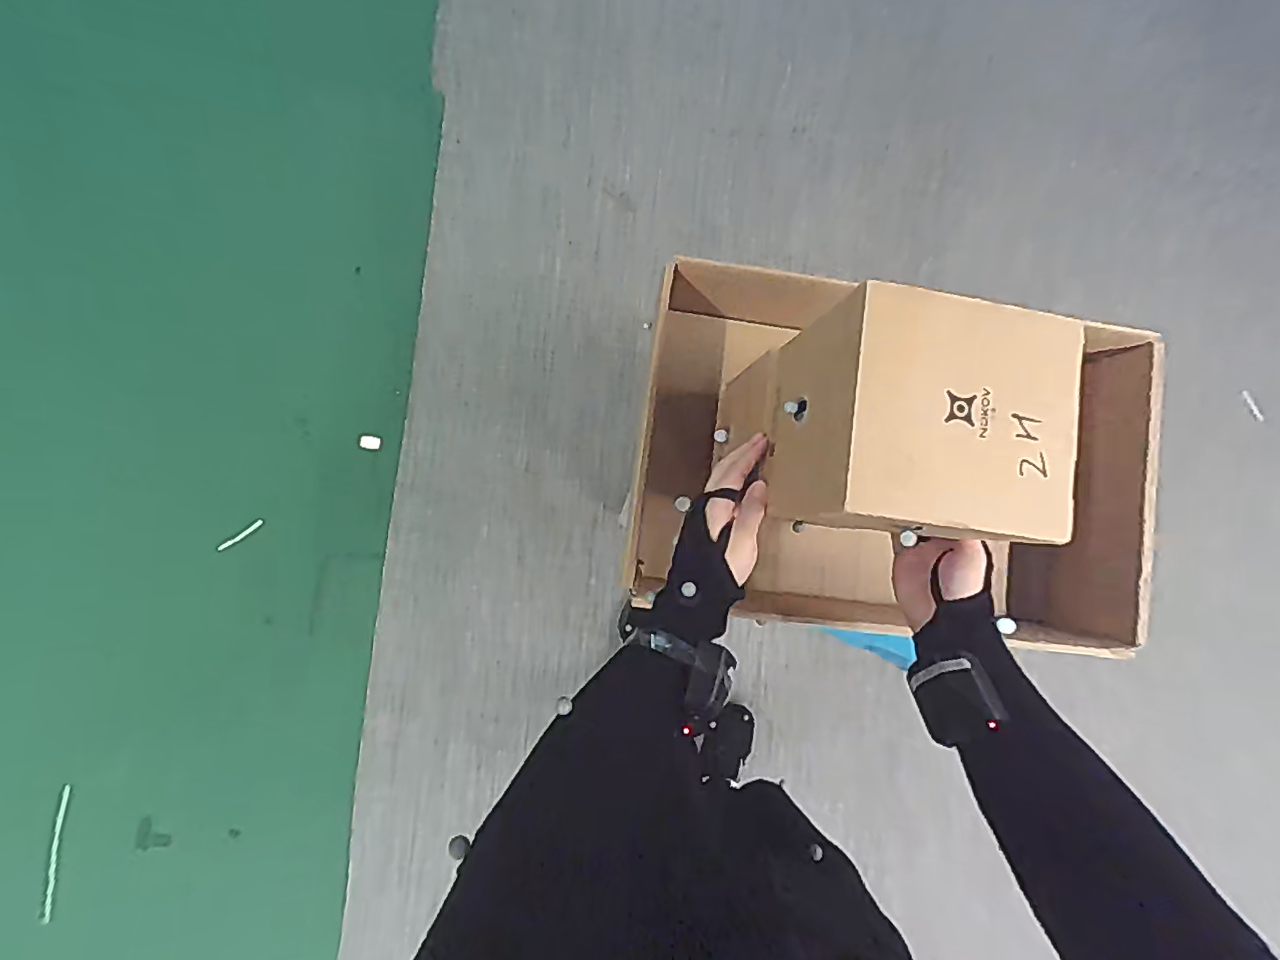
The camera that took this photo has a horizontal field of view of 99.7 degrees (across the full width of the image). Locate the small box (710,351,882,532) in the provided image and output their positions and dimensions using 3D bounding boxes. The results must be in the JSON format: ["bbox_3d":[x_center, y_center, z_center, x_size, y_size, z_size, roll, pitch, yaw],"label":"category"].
[{"bbox_3d":[0.195,-0.033,0.624,0.179,0.176,0.168,8,84,-8],"label":"small box"}]

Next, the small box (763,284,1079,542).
[{"bbox_3d":[0.219,-0.041,0.461,0.179,0.176,0.168,8,85,-8],"label":"small box"}]
